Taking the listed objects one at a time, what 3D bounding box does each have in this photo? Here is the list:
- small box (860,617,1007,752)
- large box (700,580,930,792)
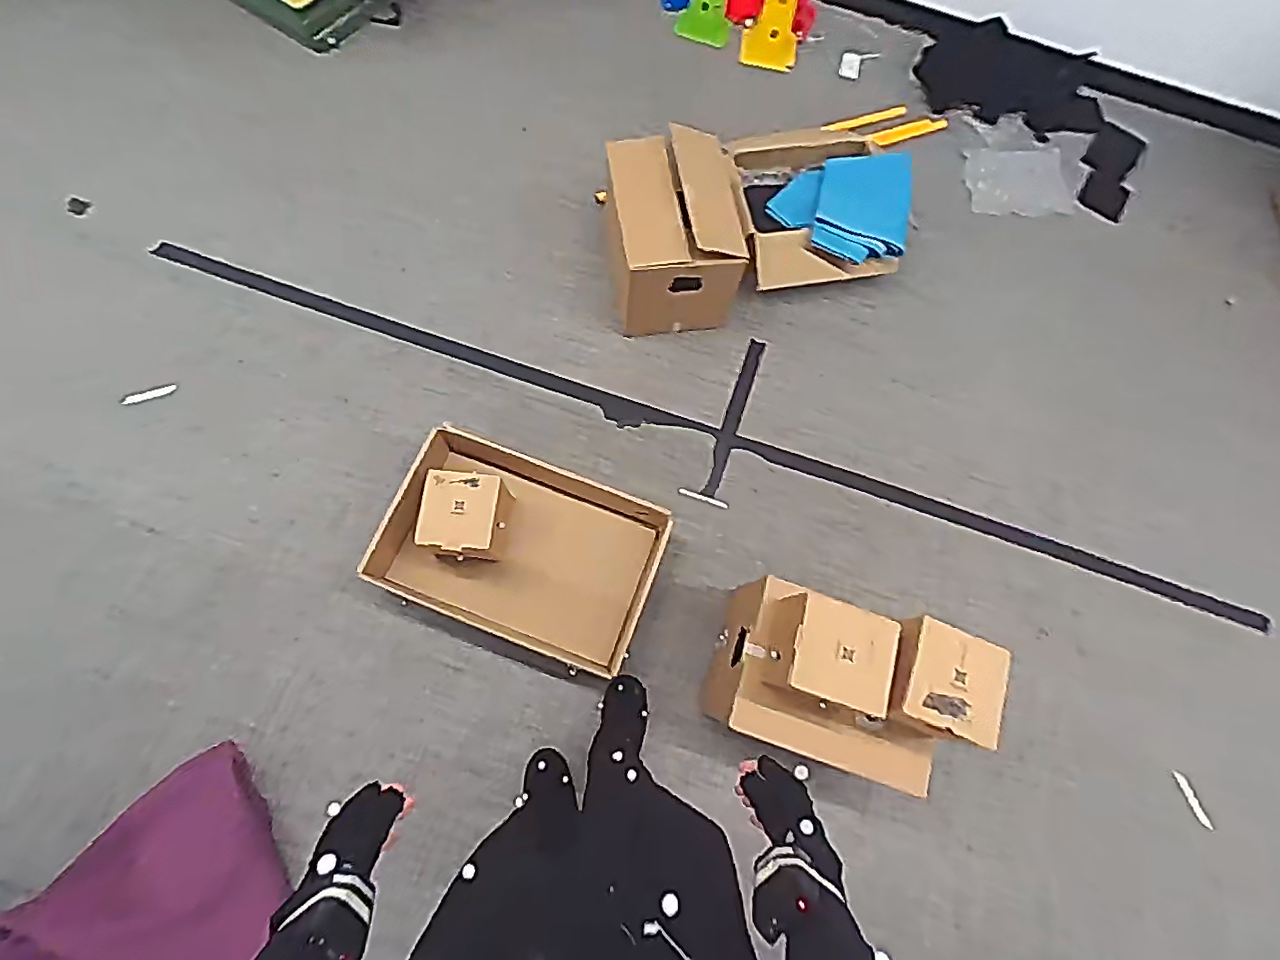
[{"bbox_3d":[0.539,0.376,1.012,0.168,0.176,0.179,23,71,3],"label":"small box"},{"bbox_3d":[0.388,0.451,1.232,0.408,0.320,0.320,19,73,0],"label":"large box"}]
